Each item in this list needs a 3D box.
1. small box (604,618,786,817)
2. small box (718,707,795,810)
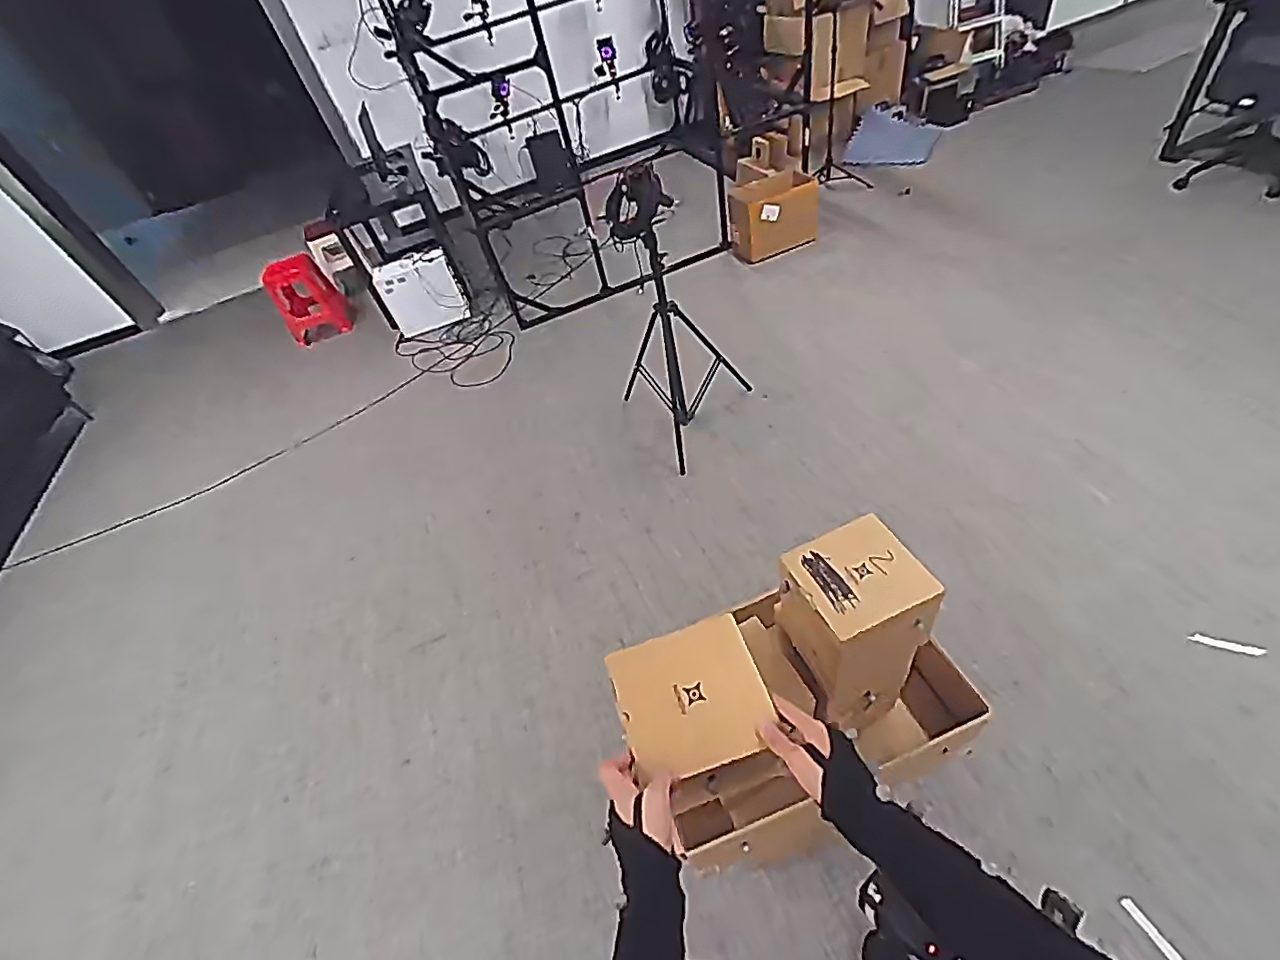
[{"bbox_3d":[0.068,0.311,0.703,0.179,0.176,0.168,-19,50,-5],"label":"small box"},{"bbox_3d":[0.189,0.514,1.075,0.168,0.176,0.179,-26,46,-9],"label":"small box"}]
